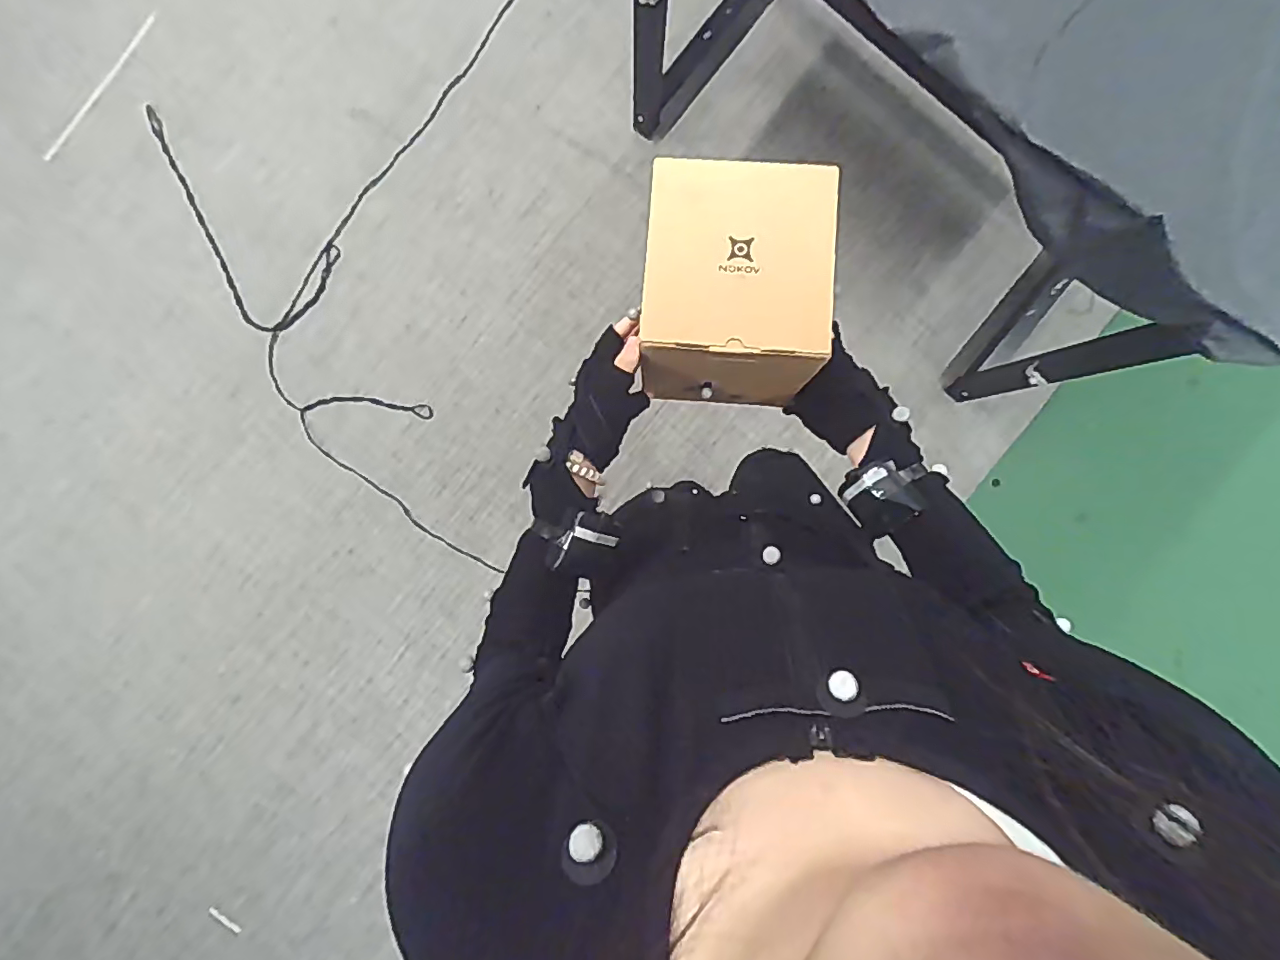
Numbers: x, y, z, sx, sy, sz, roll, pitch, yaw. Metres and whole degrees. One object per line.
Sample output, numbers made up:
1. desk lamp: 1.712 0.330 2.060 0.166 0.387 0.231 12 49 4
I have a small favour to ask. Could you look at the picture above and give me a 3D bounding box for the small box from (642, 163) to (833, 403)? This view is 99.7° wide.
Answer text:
1. small box: 0.090 -0.191 0.565 0.168 0.176 0.179 4 85 2
